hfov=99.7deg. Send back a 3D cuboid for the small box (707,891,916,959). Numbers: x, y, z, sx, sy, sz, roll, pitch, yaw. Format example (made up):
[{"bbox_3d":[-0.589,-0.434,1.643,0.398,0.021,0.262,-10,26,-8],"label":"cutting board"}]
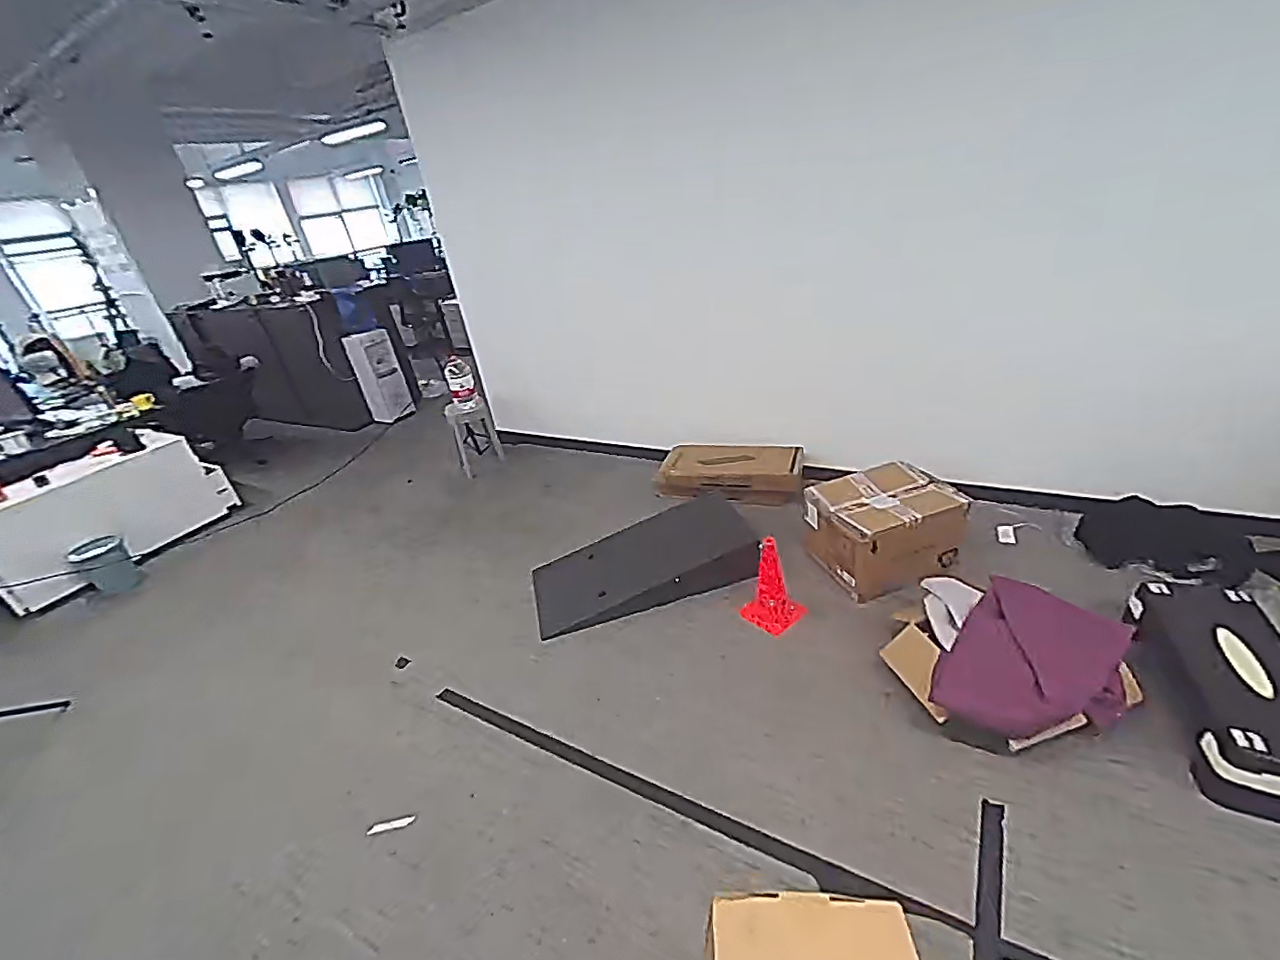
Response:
[{"bbox_3d":[0.140,0.477,0.439,0.168,0.176,0.179,-1,30,3],"label":"small box"}]
